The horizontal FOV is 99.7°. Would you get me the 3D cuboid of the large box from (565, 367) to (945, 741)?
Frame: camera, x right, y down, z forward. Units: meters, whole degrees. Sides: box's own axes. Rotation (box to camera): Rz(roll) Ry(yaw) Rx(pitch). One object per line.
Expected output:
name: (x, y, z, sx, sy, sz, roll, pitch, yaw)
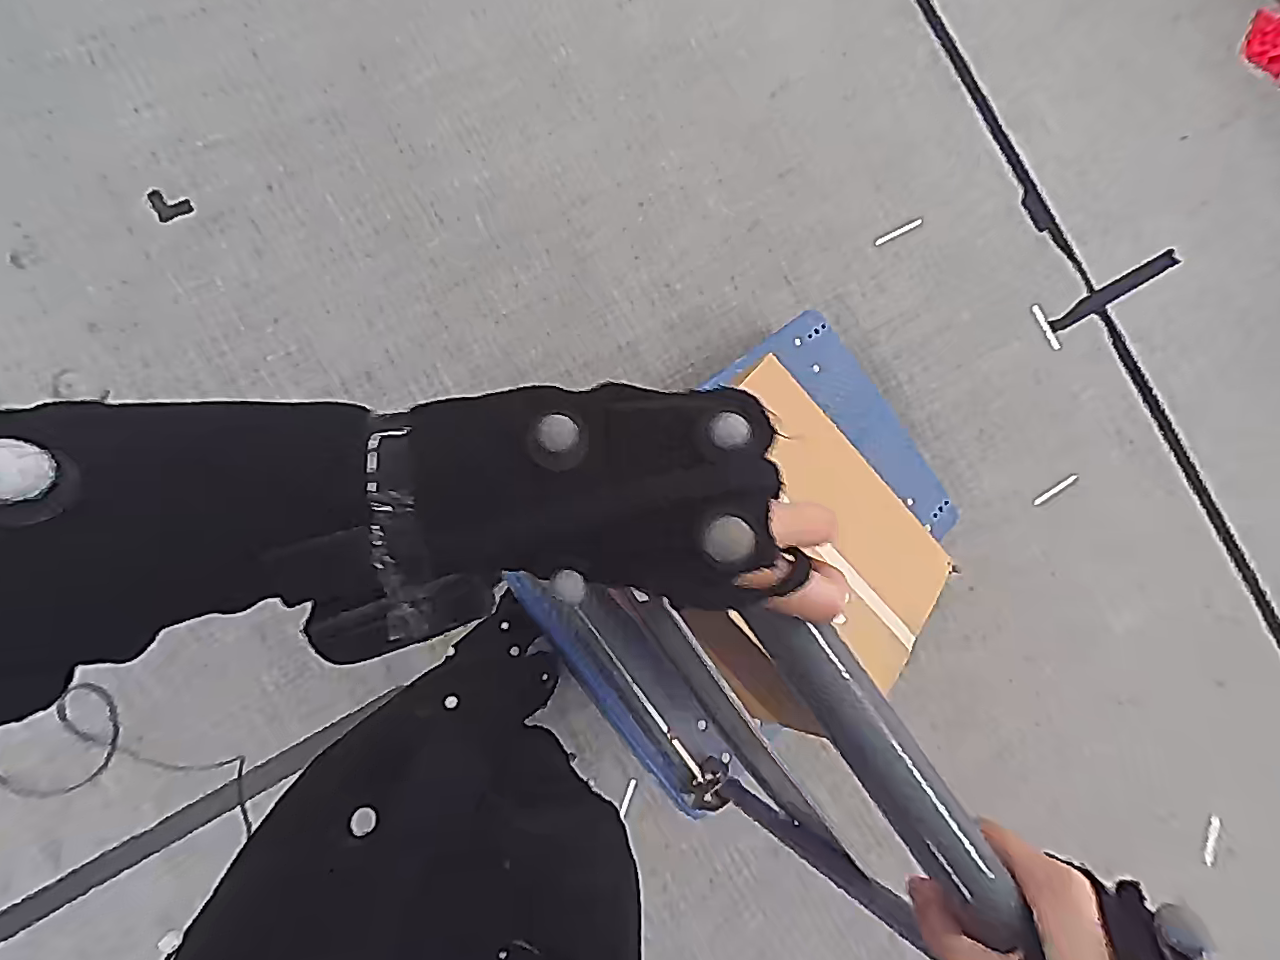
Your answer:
large box: (0.159, 0.114, 0.829, 0.408, 0.320, 0.320, 47, 64, -6)
